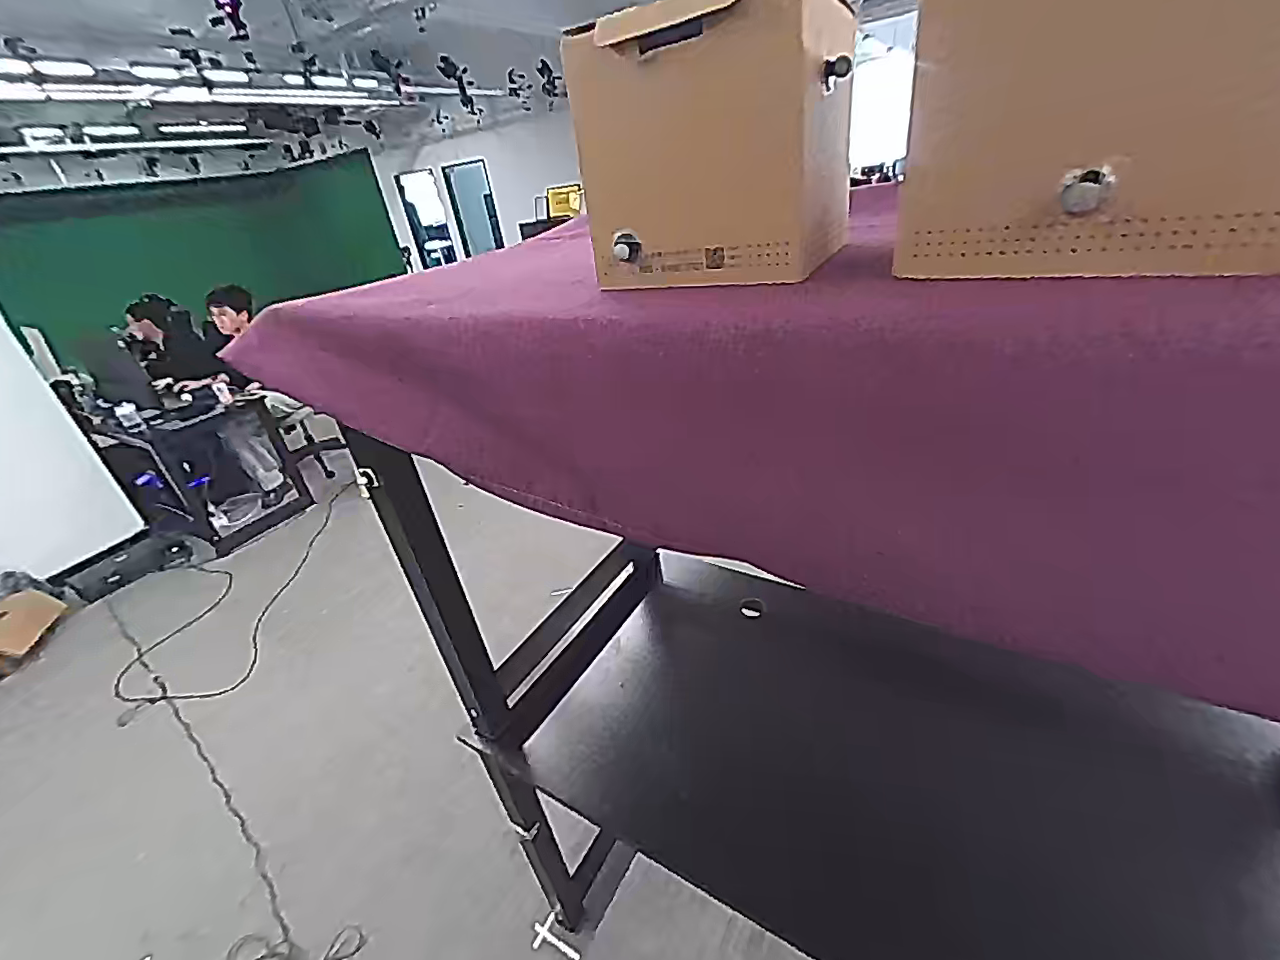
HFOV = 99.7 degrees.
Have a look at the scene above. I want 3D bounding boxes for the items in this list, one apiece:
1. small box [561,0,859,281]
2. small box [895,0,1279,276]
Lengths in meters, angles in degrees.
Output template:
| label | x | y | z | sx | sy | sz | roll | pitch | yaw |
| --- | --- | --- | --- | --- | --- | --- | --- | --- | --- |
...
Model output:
| label | x | y | z | sx | sy | sz | roll | pitch | yaw |
| --- | --- | --- | --- | --- | --- | --- | --- | --- | --- |
| small box | 0.067 | -0.256 | 0.423 | 0.168 | 0.176 | 0.179 | 9 | 32 | 28 |
| small box | 0.261 | -0.217 | 0.301 | 0.179 | 0.176 | 0.168 | 14 | 35 | 33 |
